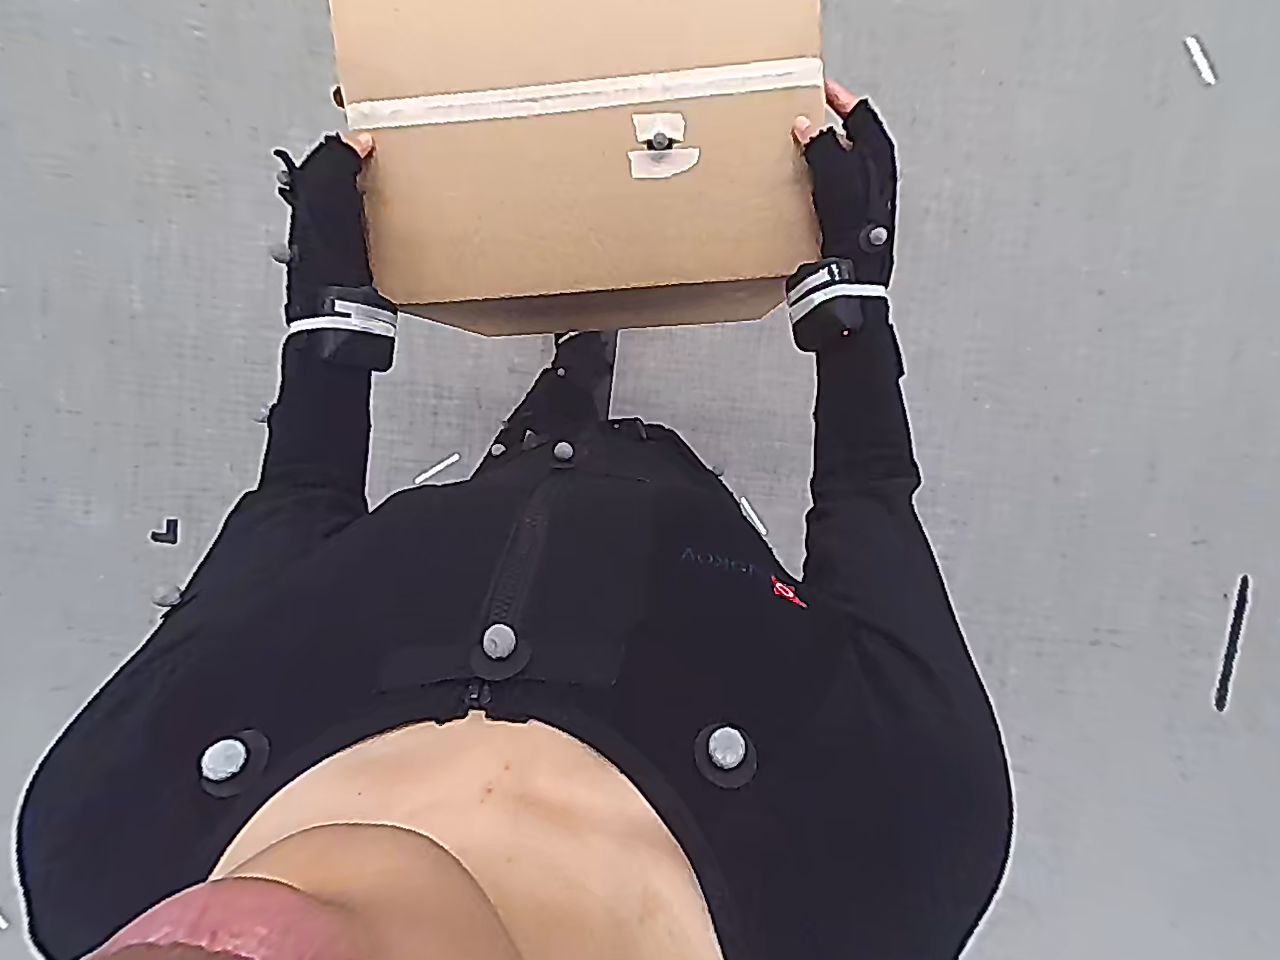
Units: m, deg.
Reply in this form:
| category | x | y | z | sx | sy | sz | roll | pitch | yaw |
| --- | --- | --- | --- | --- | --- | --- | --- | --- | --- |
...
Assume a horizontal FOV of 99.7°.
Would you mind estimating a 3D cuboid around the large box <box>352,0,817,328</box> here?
| category | x | y | z | sx | sy | sz | roll | pitch | yaw |
| --- | --- | --- | --- | --- | --- | --- | --- | --- | --- |
| large box | -0.045 | -0.365 | 0.624 | 0.408 | 0.320 | 0.320 | -4 | 100 | 2 |
